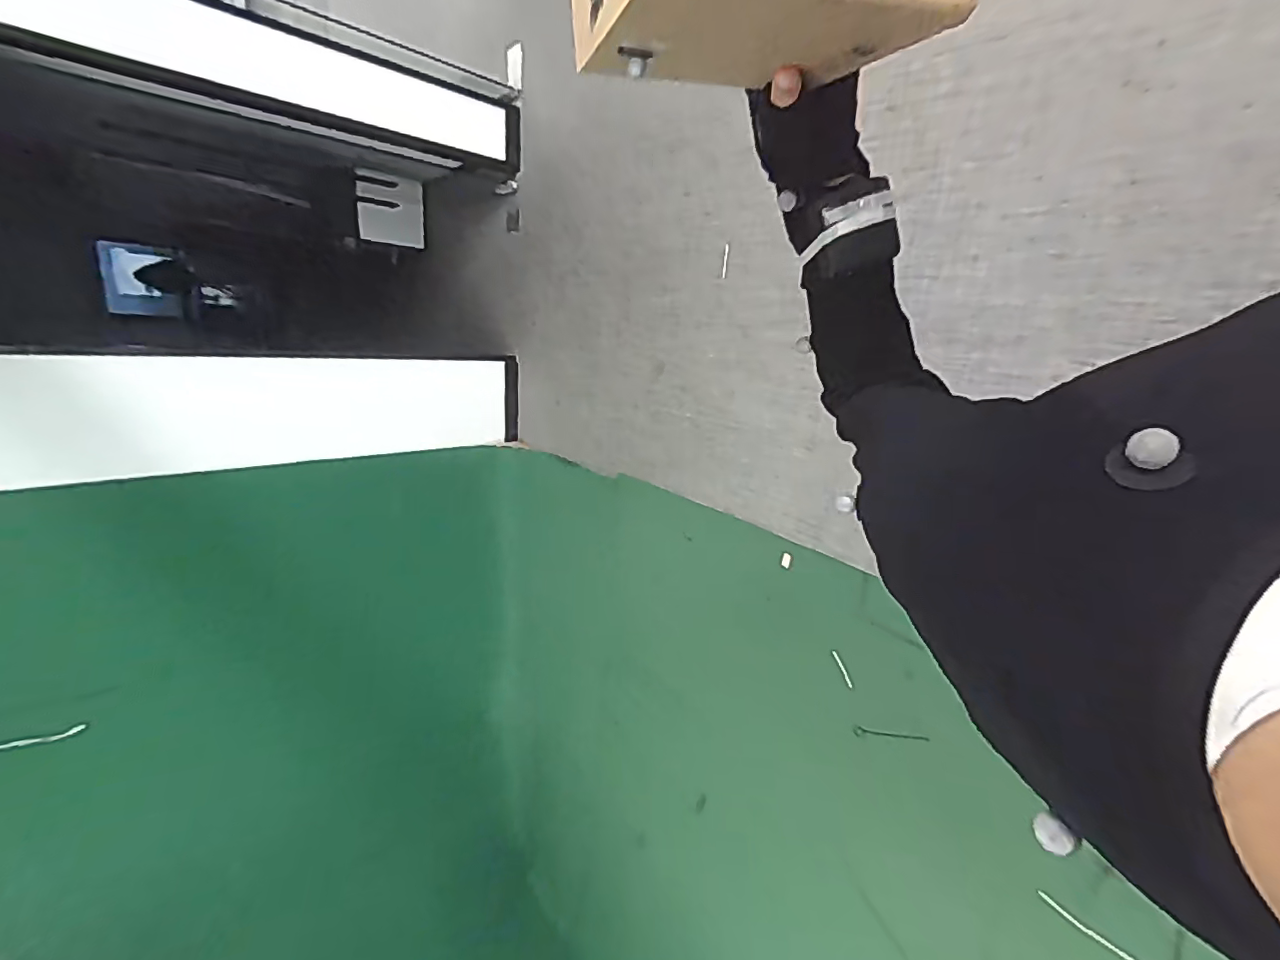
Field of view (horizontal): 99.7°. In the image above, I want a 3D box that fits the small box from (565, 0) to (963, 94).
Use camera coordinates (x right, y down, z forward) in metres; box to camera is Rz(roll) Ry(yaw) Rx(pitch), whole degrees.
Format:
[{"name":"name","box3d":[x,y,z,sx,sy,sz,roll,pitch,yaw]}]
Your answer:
[{"name":"small box","box3d":[0.059,-0.324,0.275,0.168,0.176,0.179,-127,34,-61]}]
